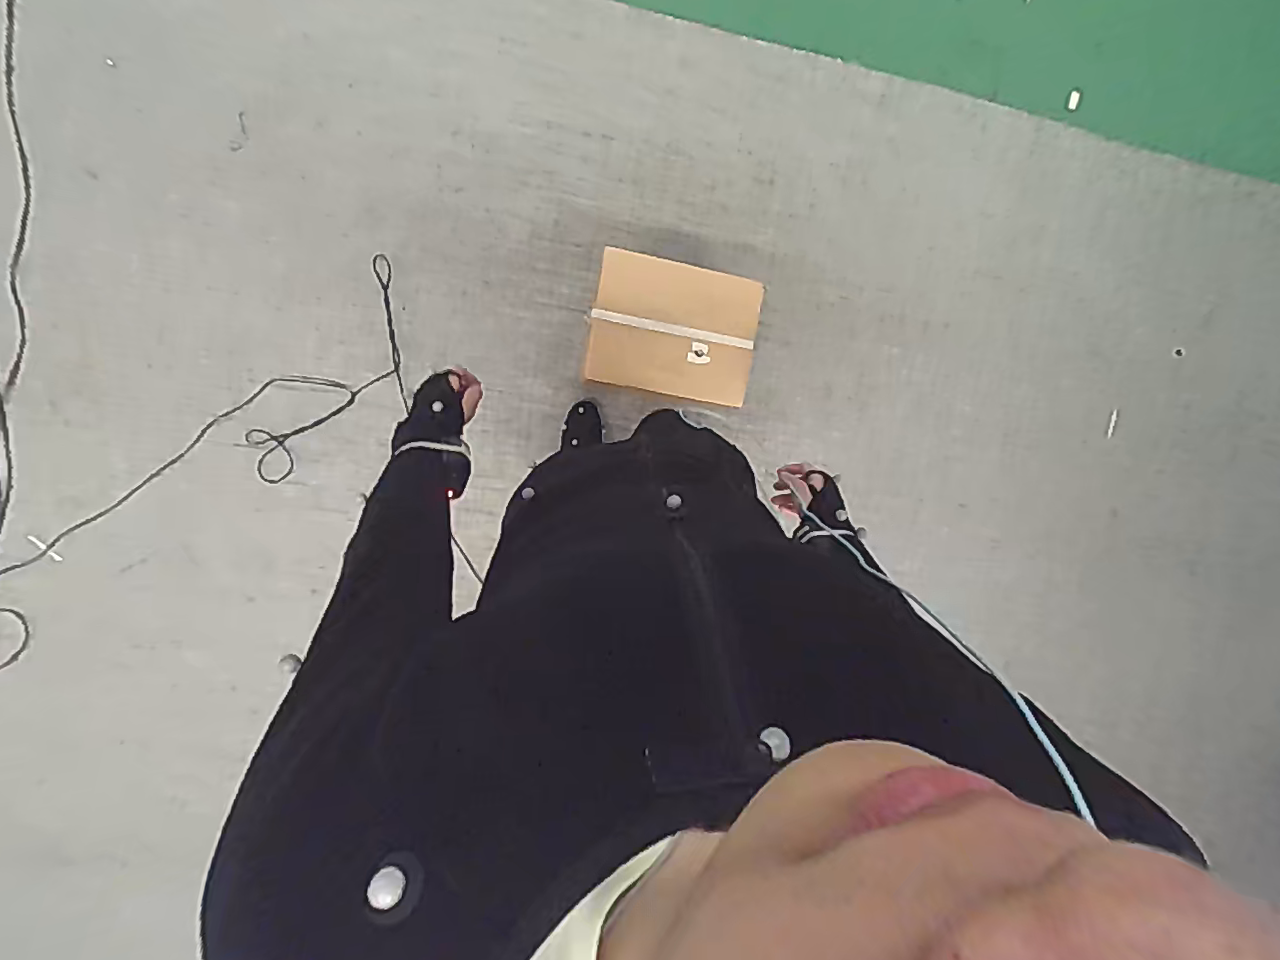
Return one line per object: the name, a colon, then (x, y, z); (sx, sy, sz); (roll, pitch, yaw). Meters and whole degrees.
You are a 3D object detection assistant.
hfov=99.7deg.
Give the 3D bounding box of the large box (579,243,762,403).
large box: (0.060, -0.392, 1.447); (0.408, 0.320, 0.320); (9, 96, -10)
